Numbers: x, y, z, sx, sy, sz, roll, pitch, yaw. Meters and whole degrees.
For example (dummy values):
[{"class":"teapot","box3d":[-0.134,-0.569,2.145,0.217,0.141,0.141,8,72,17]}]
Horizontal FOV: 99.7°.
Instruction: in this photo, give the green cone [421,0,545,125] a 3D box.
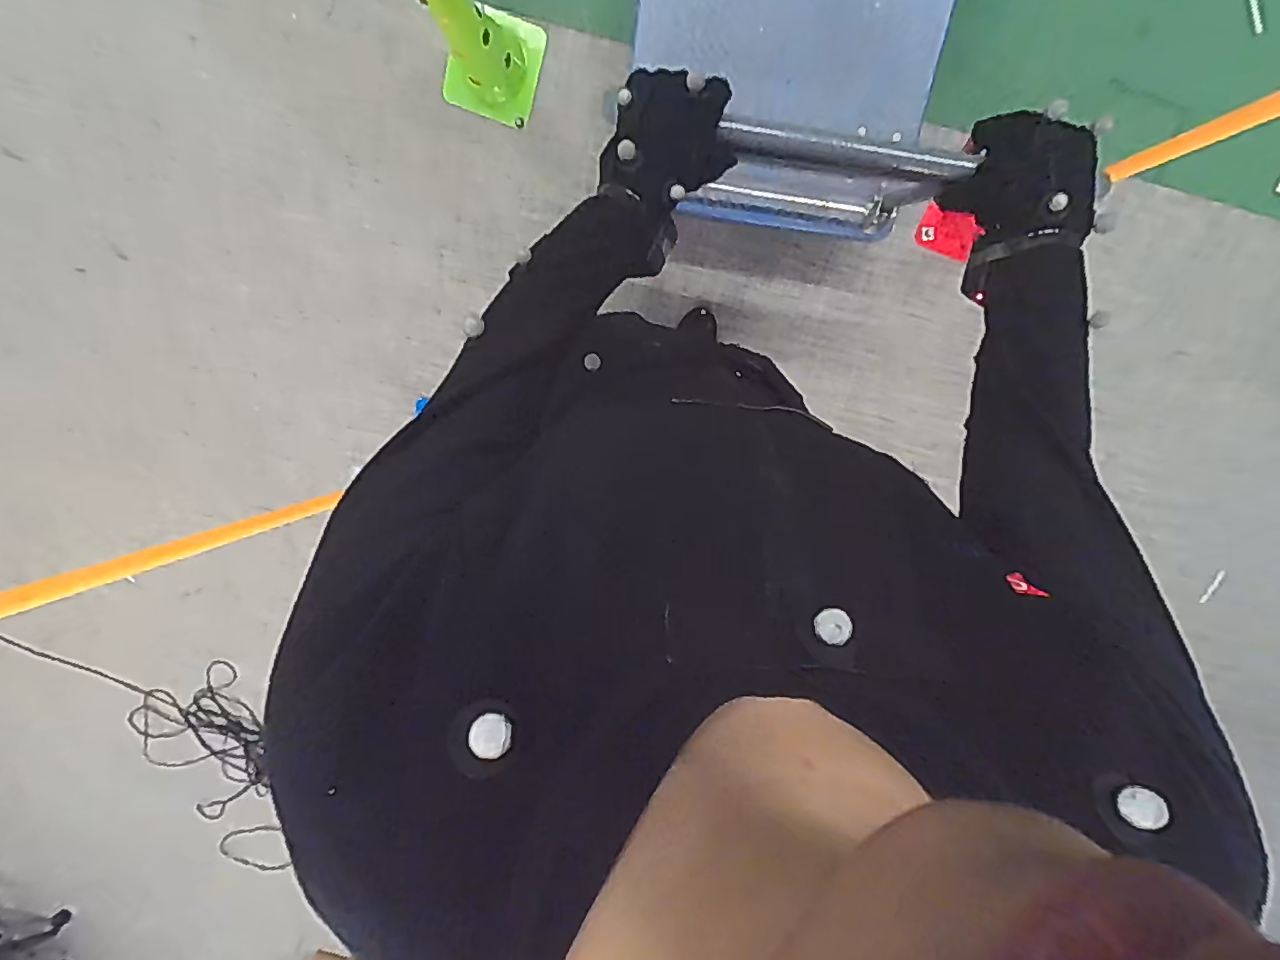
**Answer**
[{"class":"green cone","box3d":[-0.335,-0.870,1.040,0.202,0.368,0.200,18,109,-3]}]
